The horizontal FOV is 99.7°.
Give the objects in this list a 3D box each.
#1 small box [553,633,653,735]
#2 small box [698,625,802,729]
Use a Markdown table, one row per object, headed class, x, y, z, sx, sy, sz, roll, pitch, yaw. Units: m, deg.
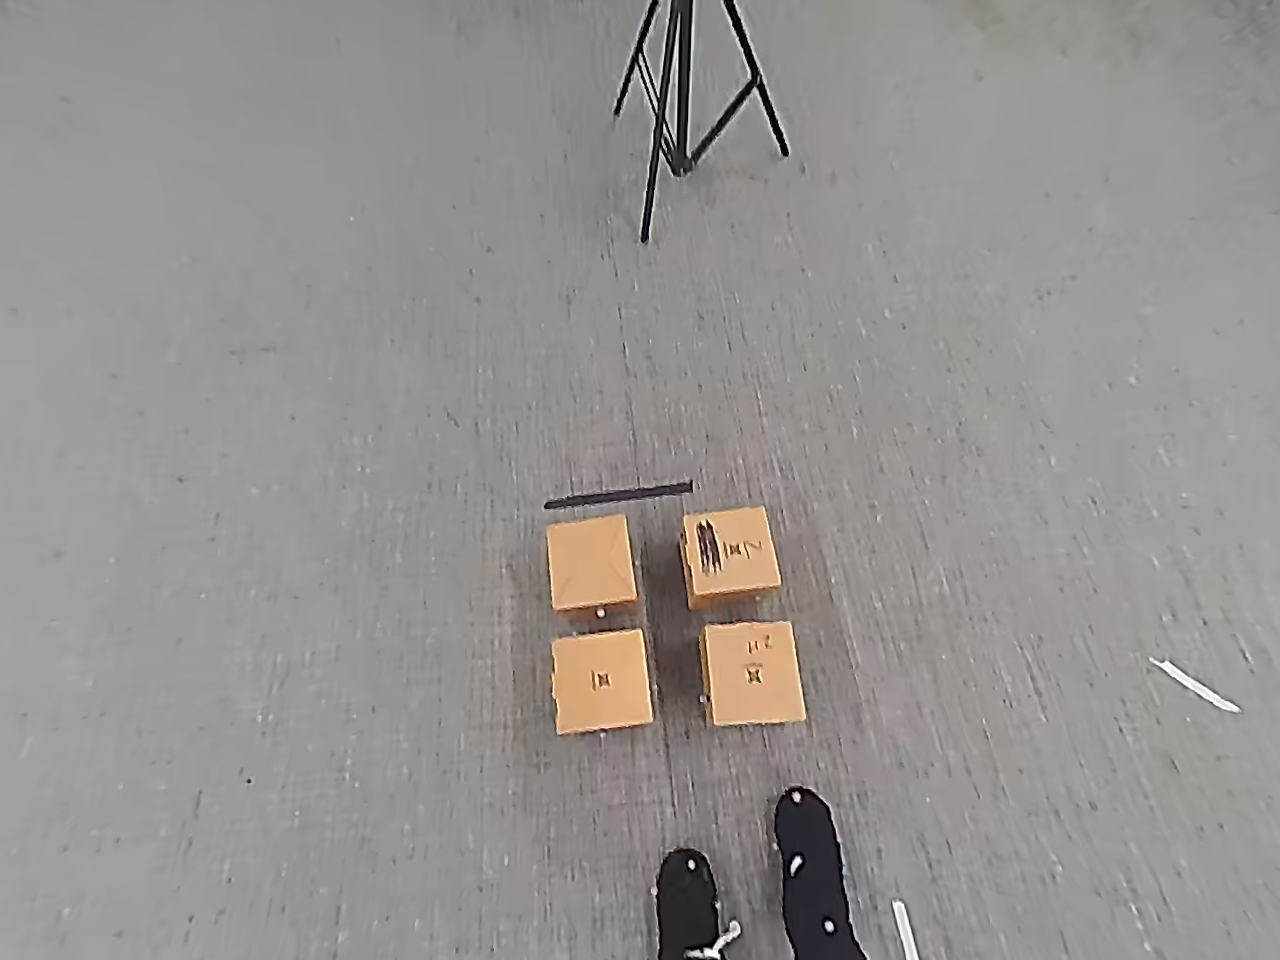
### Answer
| class | x | y | z | sx | sy | sz | roll | pitch | yaw |
| --- | --- | --- | --- | --- | --- | --- | --- | --- | --- |
| small box | -0.069 | 0.404 | 1.072 | 0.179 | 0.176 | 0.168 | -7 | 67 | 0 |
| small box | 0.208 | 0.389 | 1.067 | 0.168 | 0.176 | 0.179 | -3 | 67 | 0 |
